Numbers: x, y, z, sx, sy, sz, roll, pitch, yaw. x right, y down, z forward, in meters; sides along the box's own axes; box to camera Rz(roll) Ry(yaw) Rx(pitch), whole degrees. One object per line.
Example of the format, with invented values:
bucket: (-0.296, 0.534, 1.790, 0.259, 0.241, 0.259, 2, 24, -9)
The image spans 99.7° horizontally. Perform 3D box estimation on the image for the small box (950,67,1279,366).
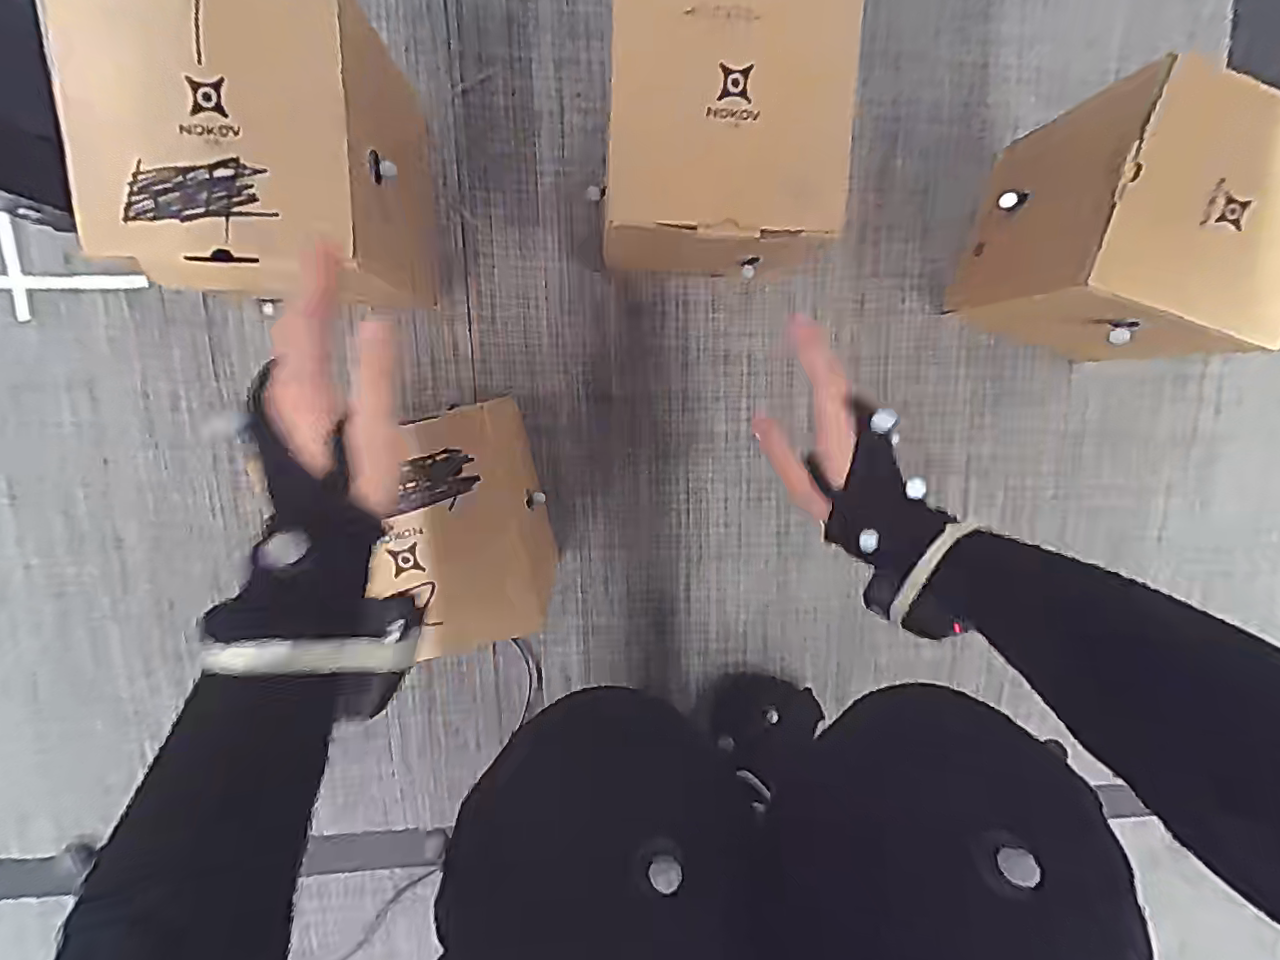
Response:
small box: (0.425, -0.204, 0.476, 0.179, 0.176, 0.168, 16, 98, -6)

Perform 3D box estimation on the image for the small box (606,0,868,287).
small box: (0.059, -0.262, 0.436, 0.168, 0.176, 0.179, 0, 98, -6)

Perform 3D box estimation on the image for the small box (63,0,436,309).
small box: (-0.262, -0.231, 0.411, 0.168, 0.176, 0.179, 0, 98, -5)
